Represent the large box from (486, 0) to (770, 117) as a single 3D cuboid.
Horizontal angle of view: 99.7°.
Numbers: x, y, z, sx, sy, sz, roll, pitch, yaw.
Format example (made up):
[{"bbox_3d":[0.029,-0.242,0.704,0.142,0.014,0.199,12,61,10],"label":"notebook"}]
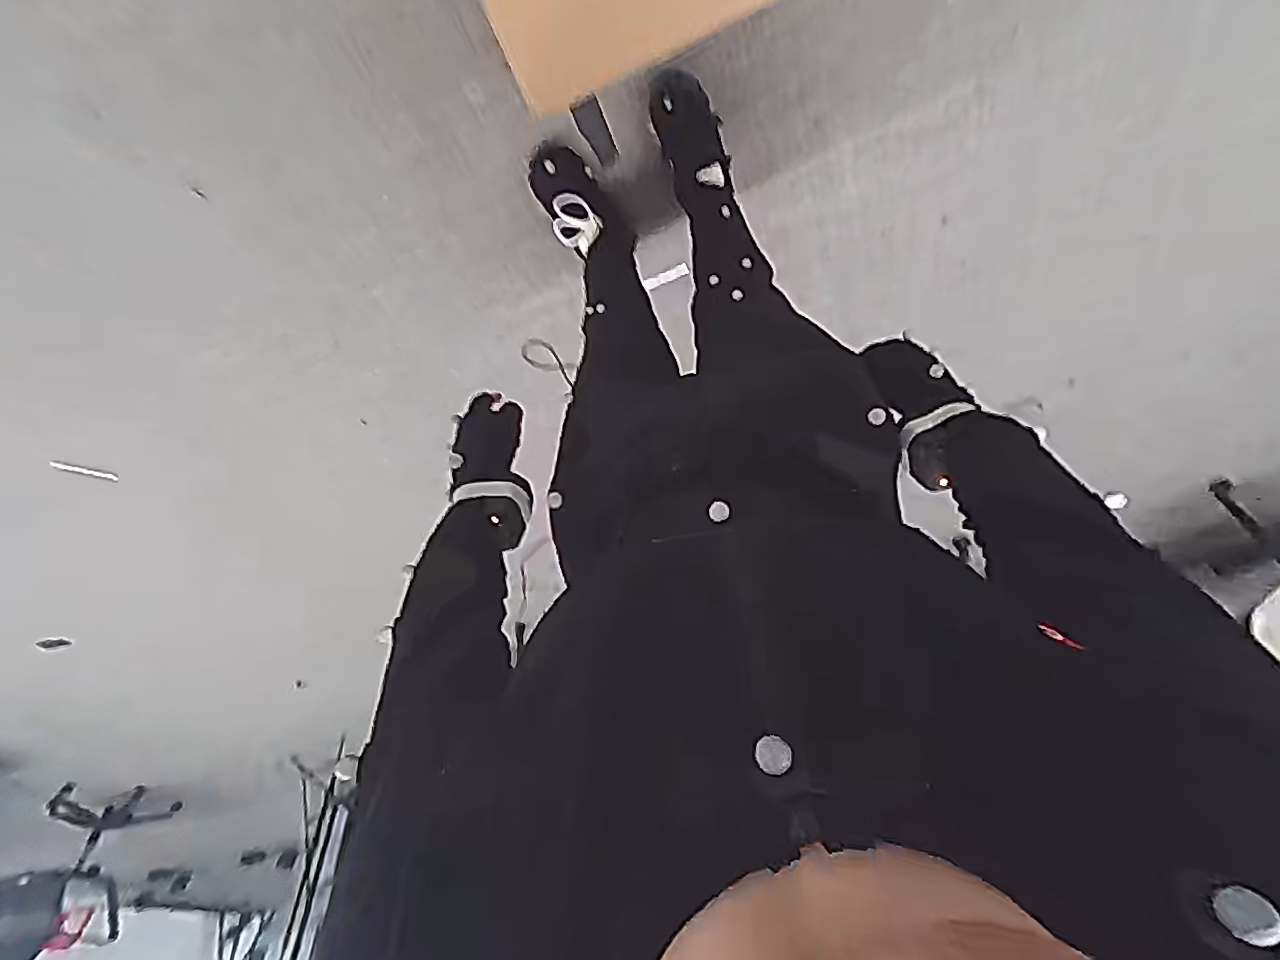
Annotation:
[{"bbox_3d":[-0.017,-0.736,0.663,0.408,0.320,0.320,-18,136,13],"label":"large box"}]
